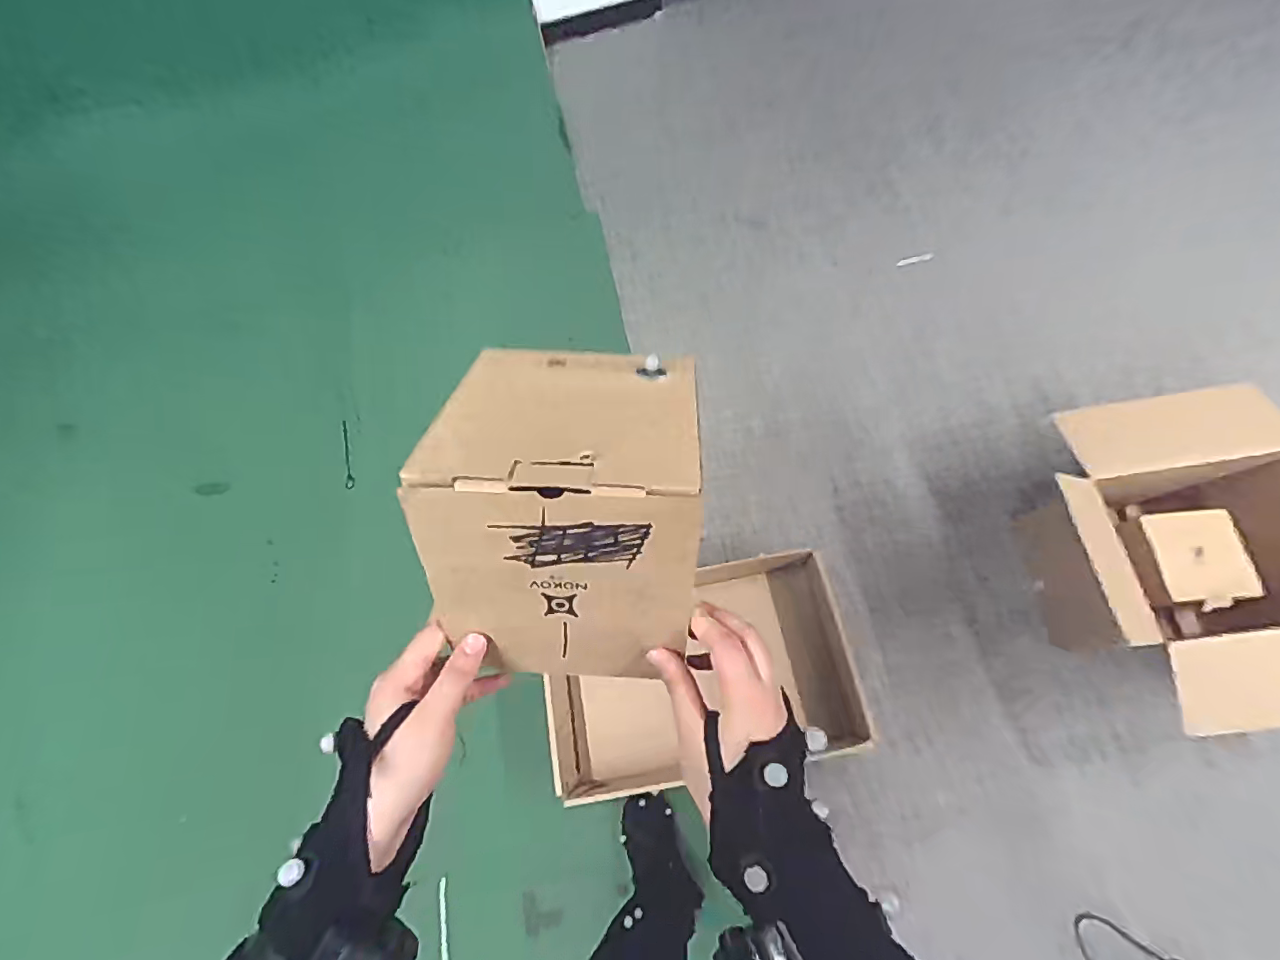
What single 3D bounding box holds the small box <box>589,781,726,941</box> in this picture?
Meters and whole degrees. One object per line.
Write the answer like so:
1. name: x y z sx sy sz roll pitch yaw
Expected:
1. small box: 0.040 0.730 1.053 0.176 0.168 0.179 47 53 -9
